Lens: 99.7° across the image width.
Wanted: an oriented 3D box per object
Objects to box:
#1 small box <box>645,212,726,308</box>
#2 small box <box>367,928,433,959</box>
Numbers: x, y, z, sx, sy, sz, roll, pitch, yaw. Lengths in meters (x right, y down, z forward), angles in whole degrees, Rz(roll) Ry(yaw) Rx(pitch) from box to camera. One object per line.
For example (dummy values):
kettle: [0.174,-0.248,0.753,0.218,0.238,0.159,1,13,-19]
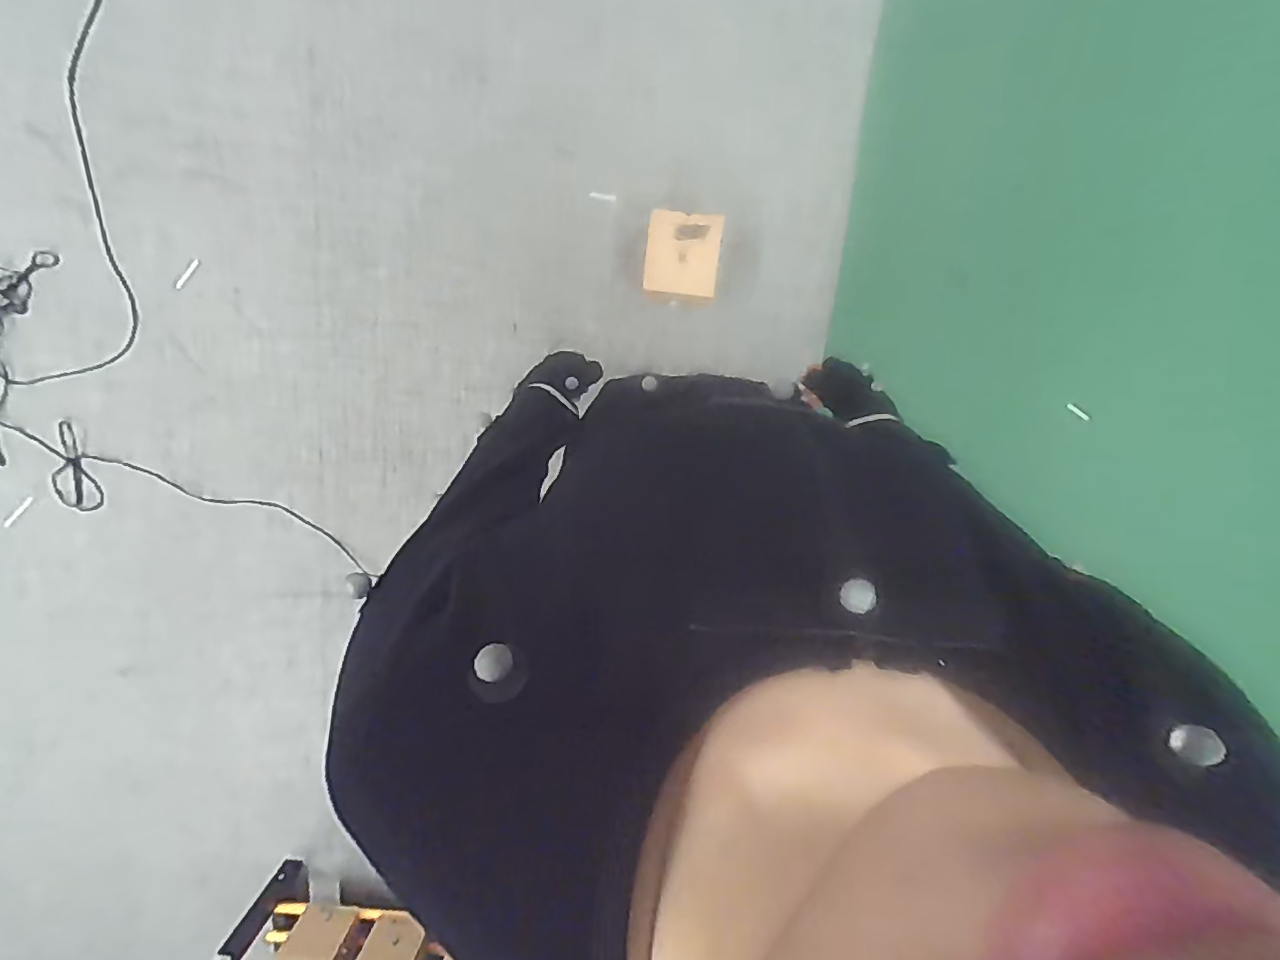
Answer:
small box: [0.101,-0.517,1.290,0.168,0.176,0.179,6,103,0]
small box: [-0.736,1.501,1.625,0.168,0.176,0.179,5,101,0]
